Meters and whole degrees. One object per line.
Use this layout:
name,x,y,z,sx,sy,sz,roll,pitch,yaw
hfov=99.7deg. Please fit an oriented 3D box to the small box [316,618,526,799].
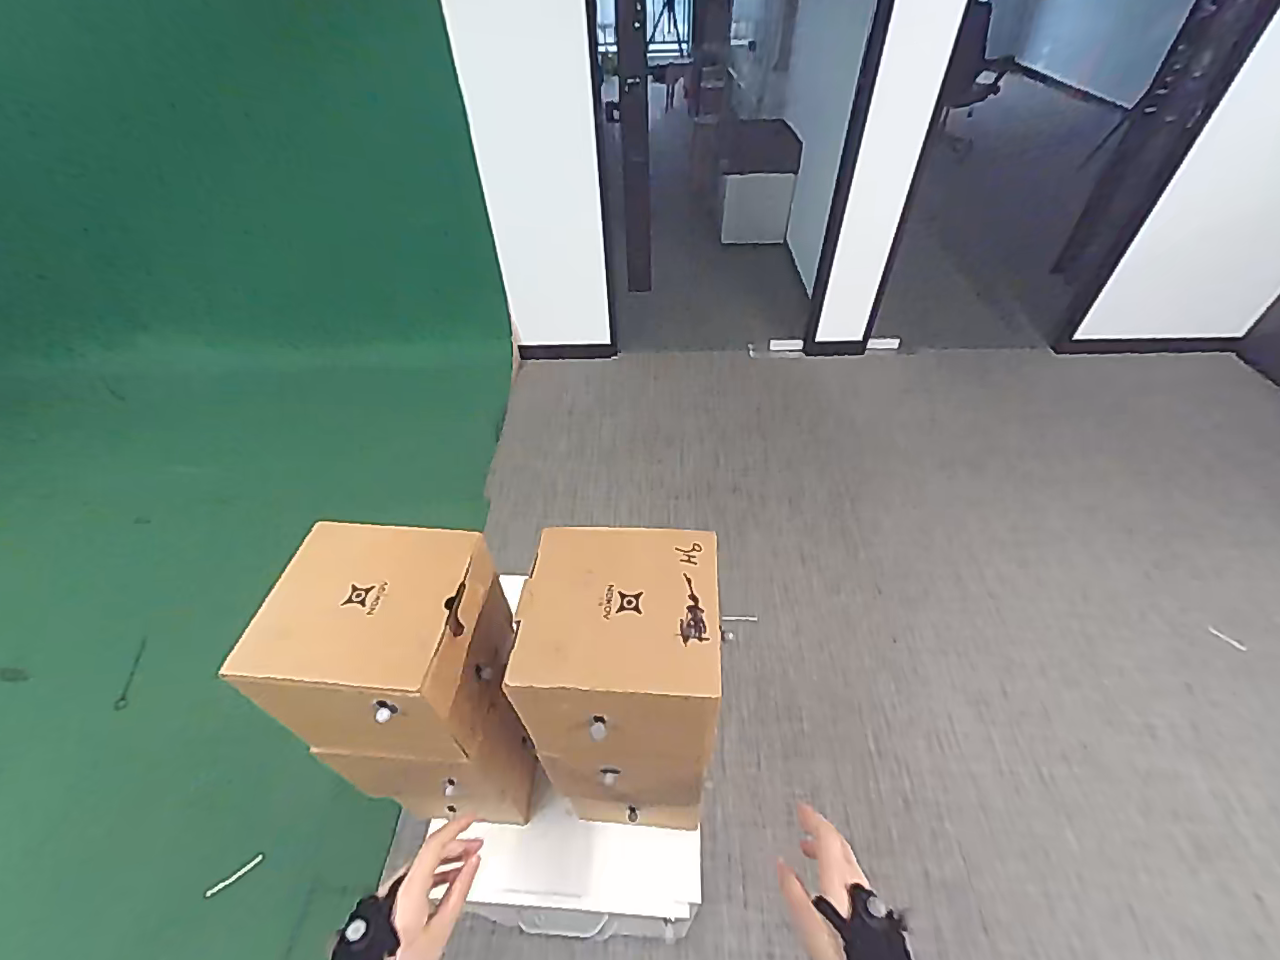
small box,-0.243,0.276,0.664,0.179,0.176,0.168,1,45,3

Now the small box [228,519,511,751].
small box,-0.247,0.159,0.550,0.179,0.176,0.168,4,46,3

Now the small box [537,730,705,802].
small box,-0.009,0.274,0.656,0.179,0.176,0.168,2,47,5

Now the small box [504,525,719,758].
small box,-0.012,0.162,0.537,0.179,0.176,0.168,0,46,6

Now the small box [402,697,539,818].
small box,-0.241,0.376,0.792,0.168,0.176,0.179,3,46,2
